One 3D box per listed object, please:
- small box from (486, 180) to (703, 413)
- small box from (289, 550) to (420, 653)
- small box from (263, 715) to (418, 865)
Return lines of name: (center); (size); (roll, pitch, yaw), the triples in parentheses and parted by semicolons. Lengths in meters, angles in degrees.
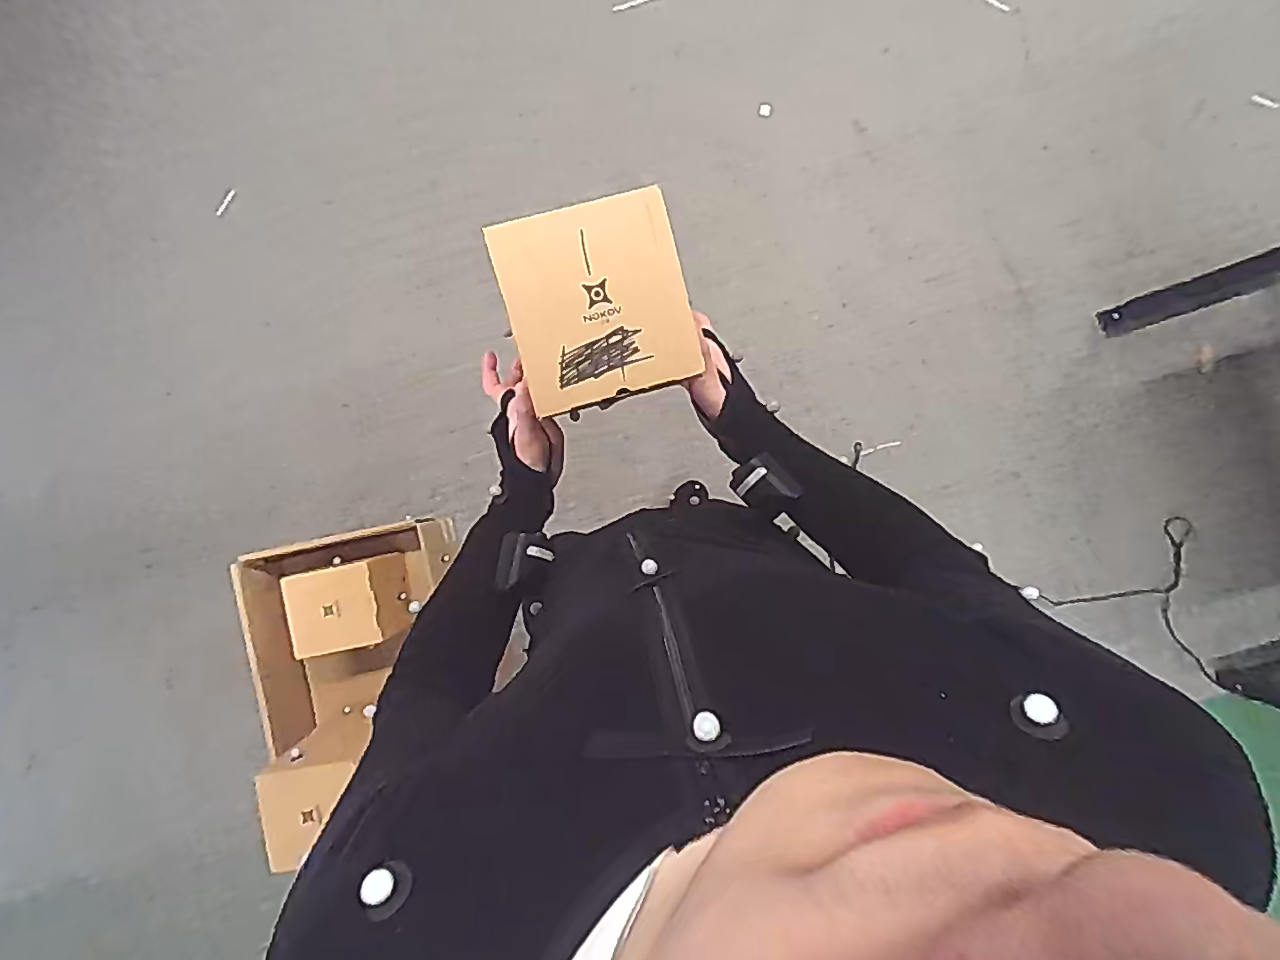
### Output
small box: (-0.044, -0.177, 0.569); (0.168, 0.176, 0.179); (-15, 99, -3)
small box: (-0.599, 0.252, 1.151); (0.179, 0.176, 0.168); (-12, 89, 0)
small box: (-0.532, 0.551, 0.981); (0.179, 0.176, 0.168); (-10, 90, 1)
